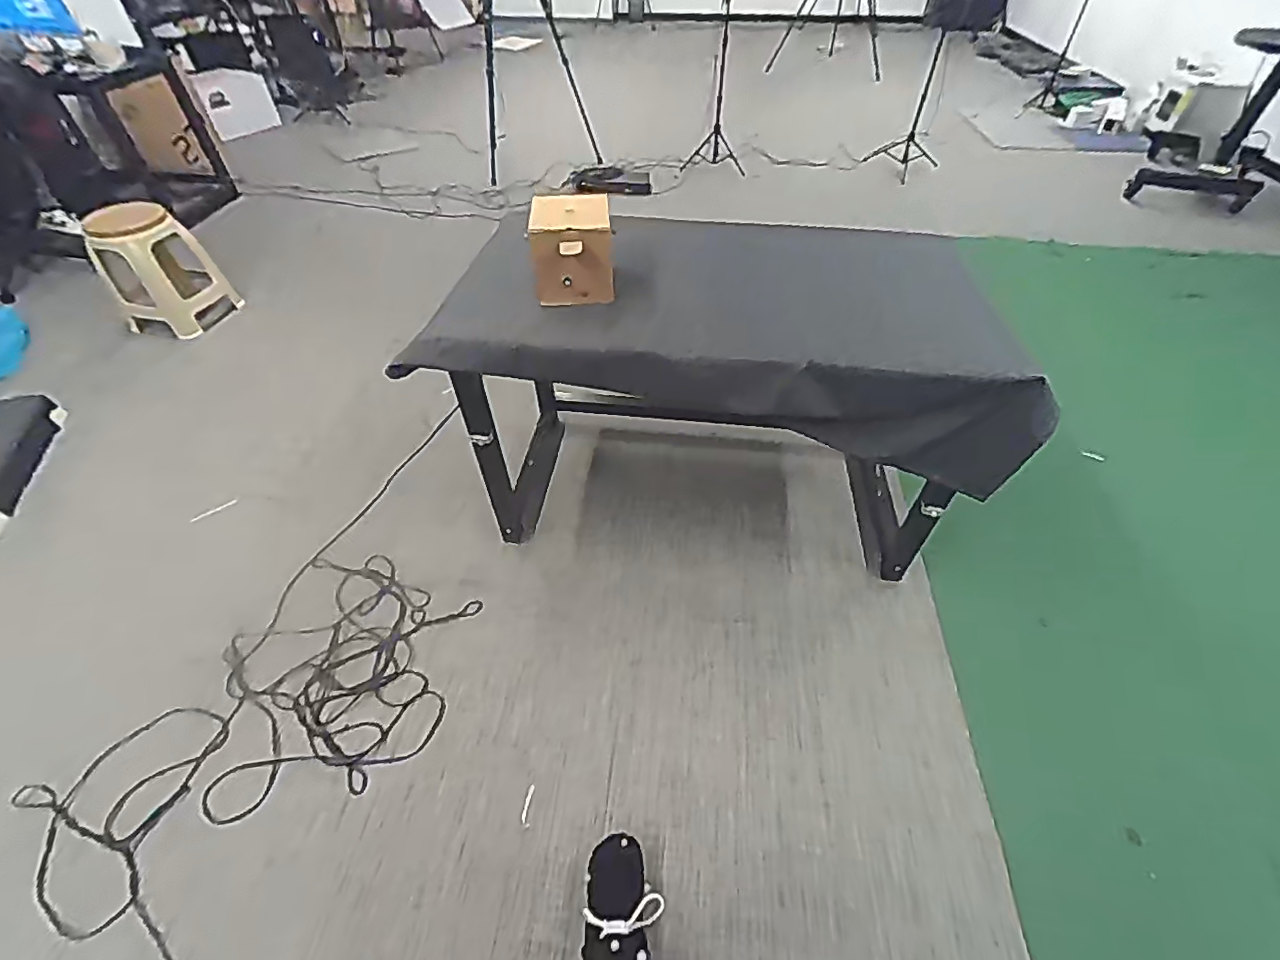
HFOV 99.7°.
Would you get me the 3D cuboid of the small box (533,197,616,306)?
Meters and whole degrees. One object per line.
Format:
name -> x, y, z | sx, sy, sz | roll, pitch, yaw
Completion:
small box -> -0.139, -0.502, 1.189 | 0.168, 0.176, 0.179 | -3, 48, -4
